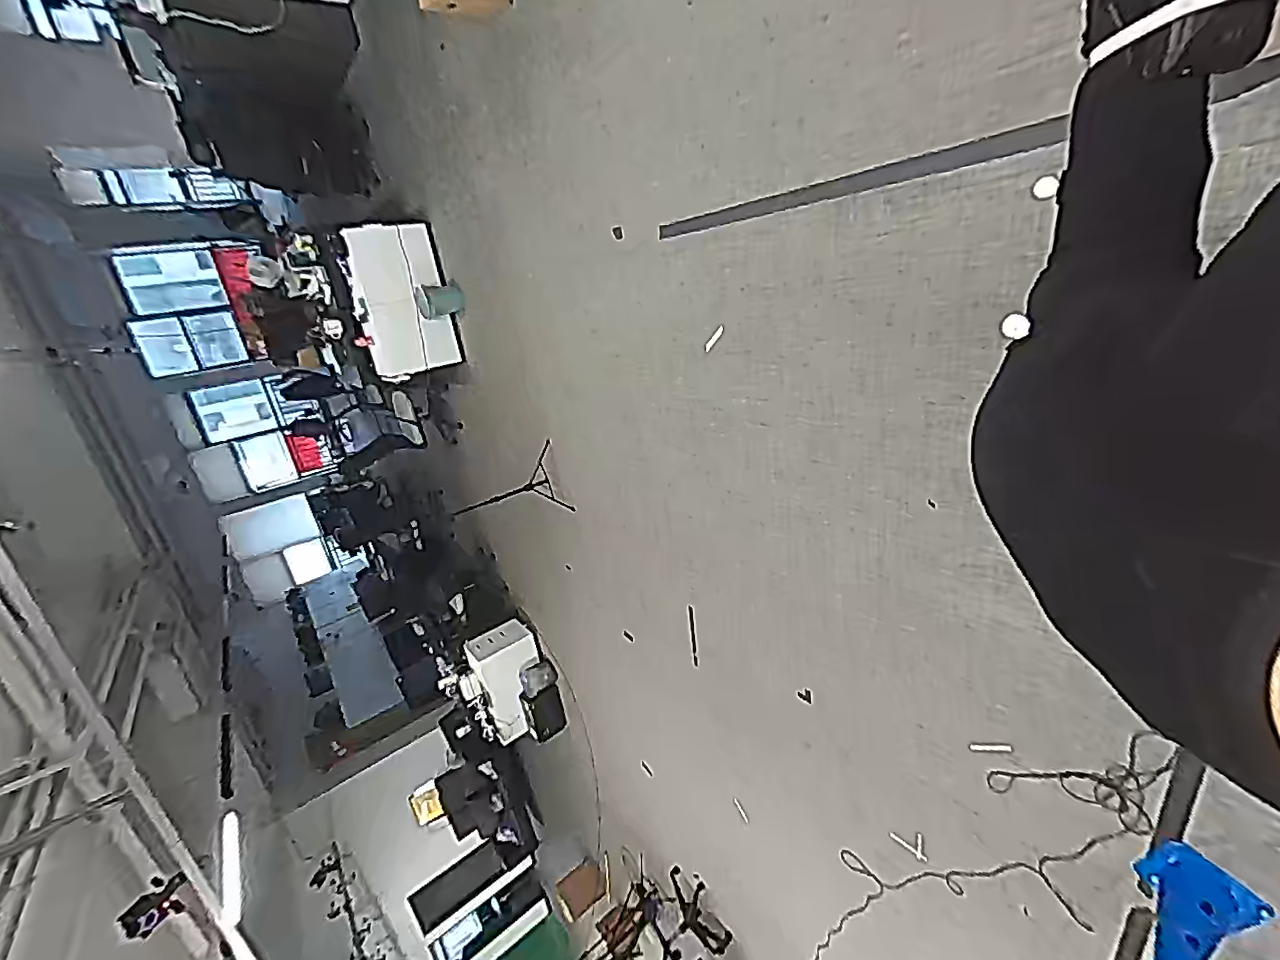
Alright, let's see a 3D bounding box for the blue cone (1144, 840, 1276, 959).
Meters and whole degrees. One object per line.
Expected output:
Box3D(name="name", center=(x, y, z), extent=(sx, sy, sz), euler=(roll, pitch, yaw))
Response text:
Box3D(name="blue cone", center=(1.302, 1.079, 1.283), extent=(0.193, 0.380, 0.192), euler=(40, 139, 36))
